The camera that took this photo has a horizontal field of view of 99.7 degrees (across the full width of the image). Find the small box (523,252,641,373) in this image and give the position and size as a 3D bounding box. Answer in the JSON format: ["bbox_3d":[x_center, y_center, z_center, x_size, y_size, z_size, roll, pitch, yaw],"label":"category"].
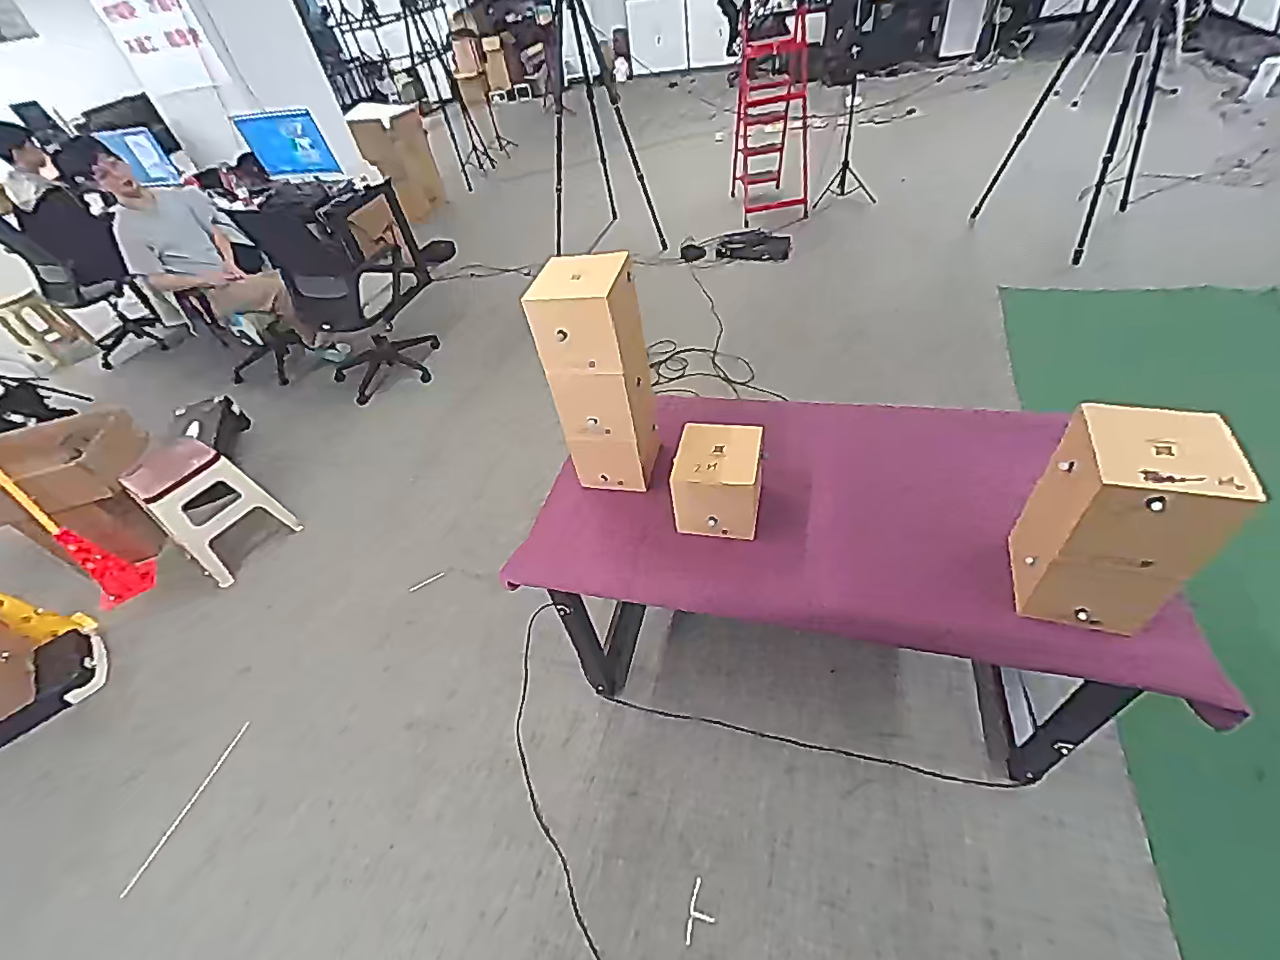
[{"bbox_3d":[-0.102,-0.323,1.059,0.168,0.176,0.179,3,46,15],"label":"small box"}]

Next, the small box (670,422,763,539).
[{"bbox_3d":[0.168,-0.001,1.149,0.168,0.176,0.179,5,47,16],"label":"small box"}]

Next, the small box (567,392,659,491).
[{"bbox_3d":[-0.056,-0.096,1.288,0.168,0.176,0.179,4,48,15],"label":"small box"}]

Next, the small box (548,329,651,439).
[{"bbox_3d":[-0.078,-0.210,1.174,0.168,0.176,0.179,3,47,15],"label":"small box"}]

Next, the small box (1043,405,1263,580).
[{"bbox_3d":[0.716,0.015,0.786,0.168,0.176,0.179,8,47,21],"label":"small box"}]
